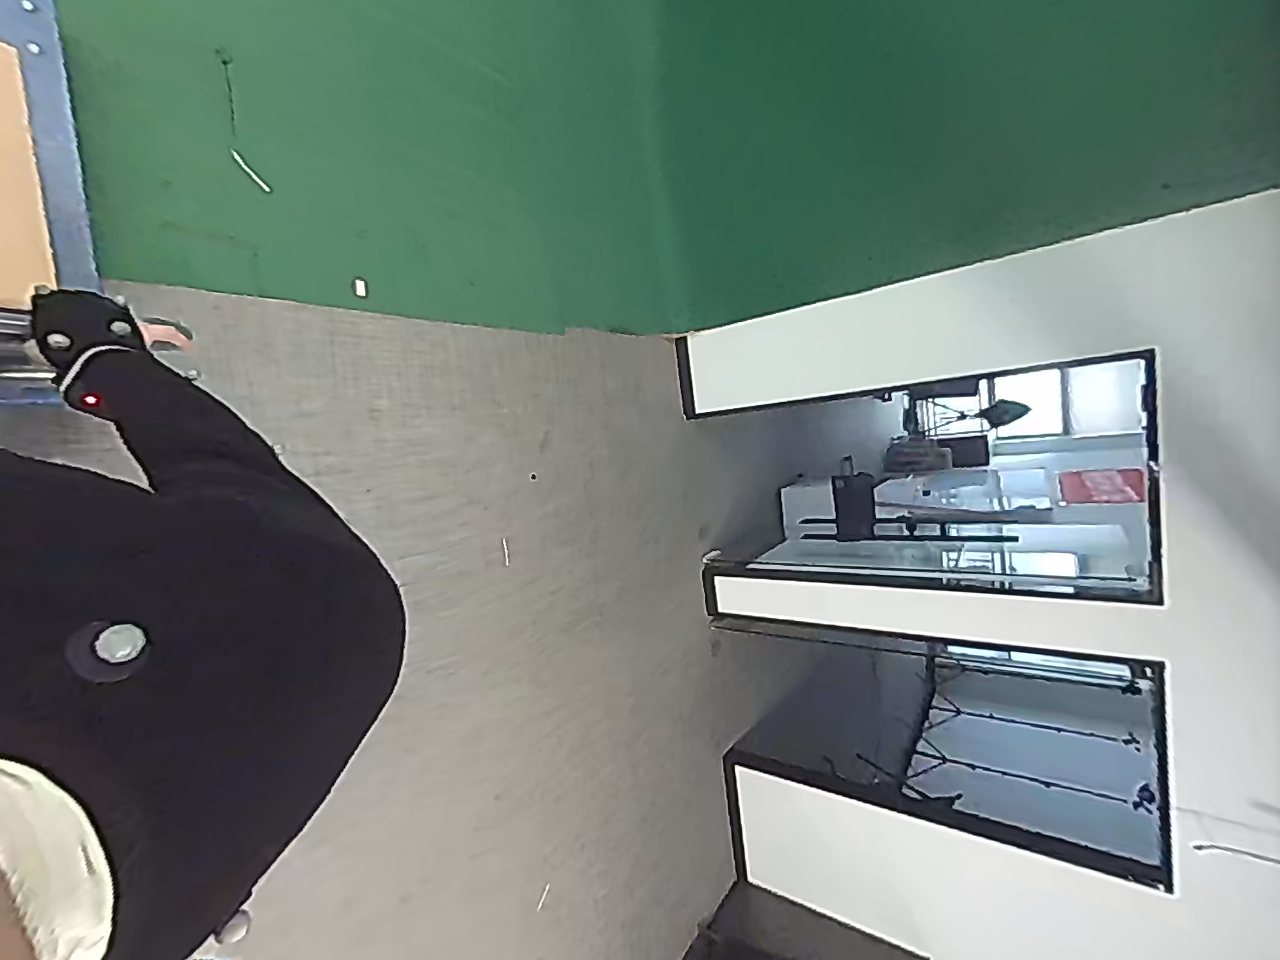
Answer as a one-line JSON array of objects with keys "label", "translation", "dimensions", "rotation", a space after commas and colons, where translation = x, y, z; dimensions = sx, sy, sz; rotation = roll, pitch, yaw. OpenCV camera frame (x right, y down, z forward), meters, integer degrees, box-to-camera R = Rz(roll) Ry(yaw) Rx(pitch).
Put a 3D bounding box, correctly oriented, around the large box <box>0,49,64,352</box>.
[{"label": "large box", "translation": [-1.141, -0.425, 0.806], "dimensions": [0.320, 0.320, 0.408], "rotation": [-12, 95, -53]}]
